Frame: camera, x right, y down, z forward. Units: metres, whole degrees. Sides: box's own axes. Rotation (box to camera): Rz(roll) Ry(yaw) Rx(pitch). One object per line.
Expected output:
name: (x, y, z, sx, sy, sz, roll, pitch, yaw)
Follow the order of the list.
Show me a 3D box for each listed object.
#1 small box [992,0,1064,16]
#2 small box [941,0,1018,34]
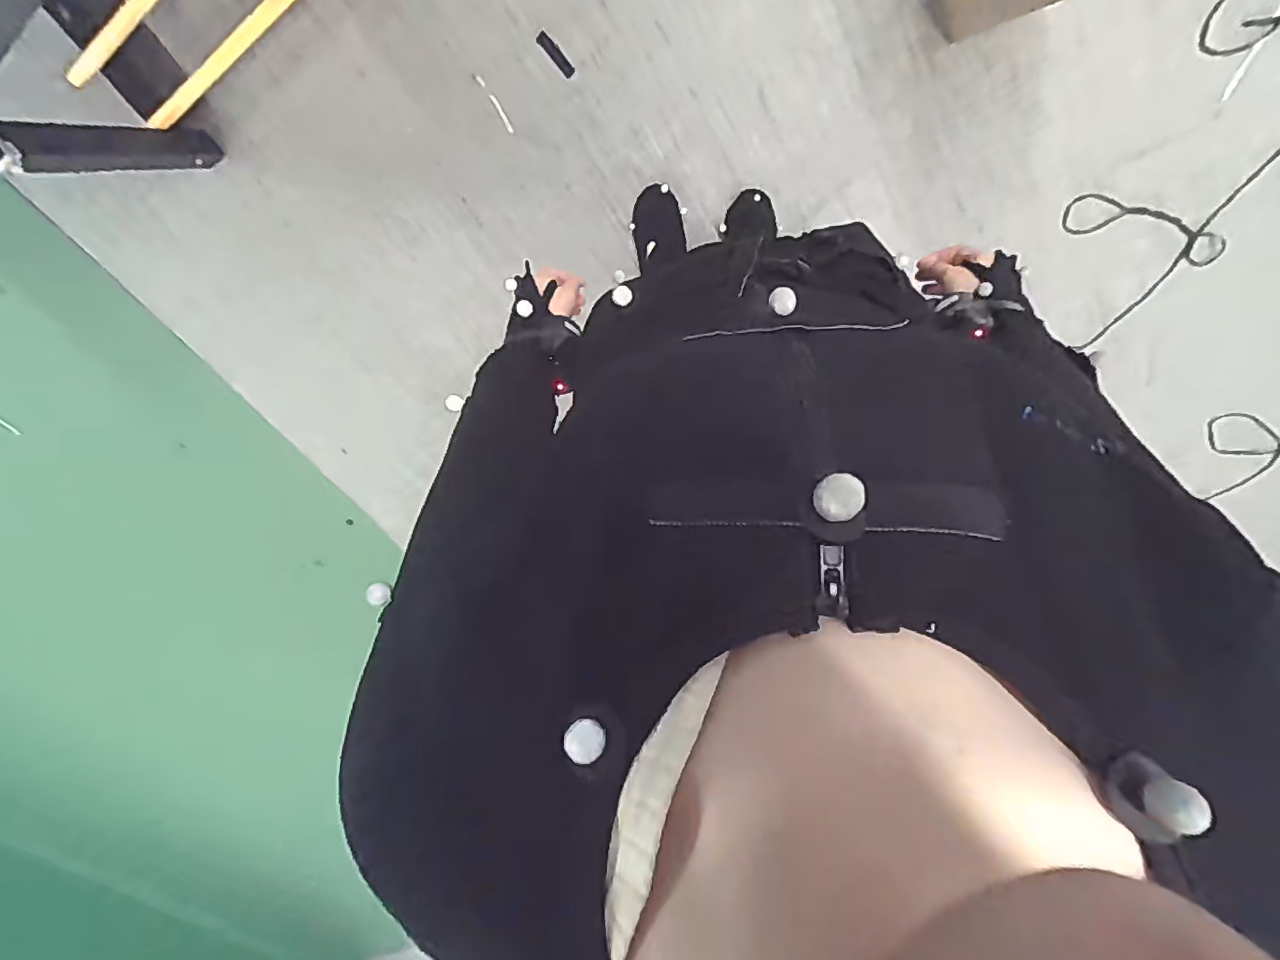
small box: (0.581, -0.768, 0.720, 0.168, 0.176, 0.179, -27, 115, 17)
small box: (0.593, -0.852, 0.857, 0.168, 0.176, 0.179, -25, 118, 15)
